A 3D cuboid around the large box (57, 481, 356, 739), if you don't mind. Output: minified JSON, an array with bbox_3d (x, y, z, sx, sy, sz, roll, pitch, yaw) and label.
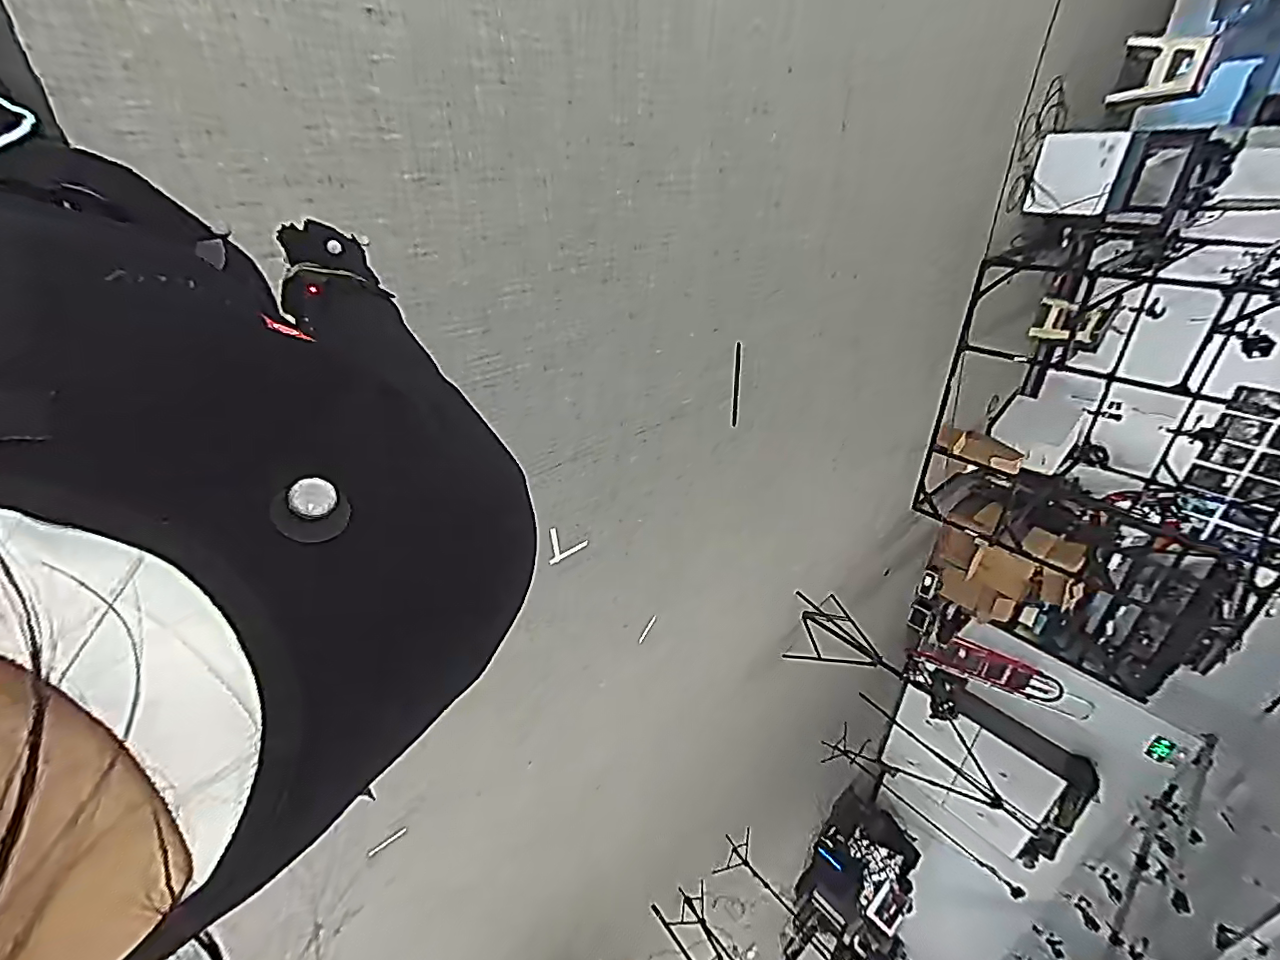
[{"bbox_3d":[-0.928,0.256,1.192,0.408,0.320,0.320,-28,131,-33],"label":"large box"}]
